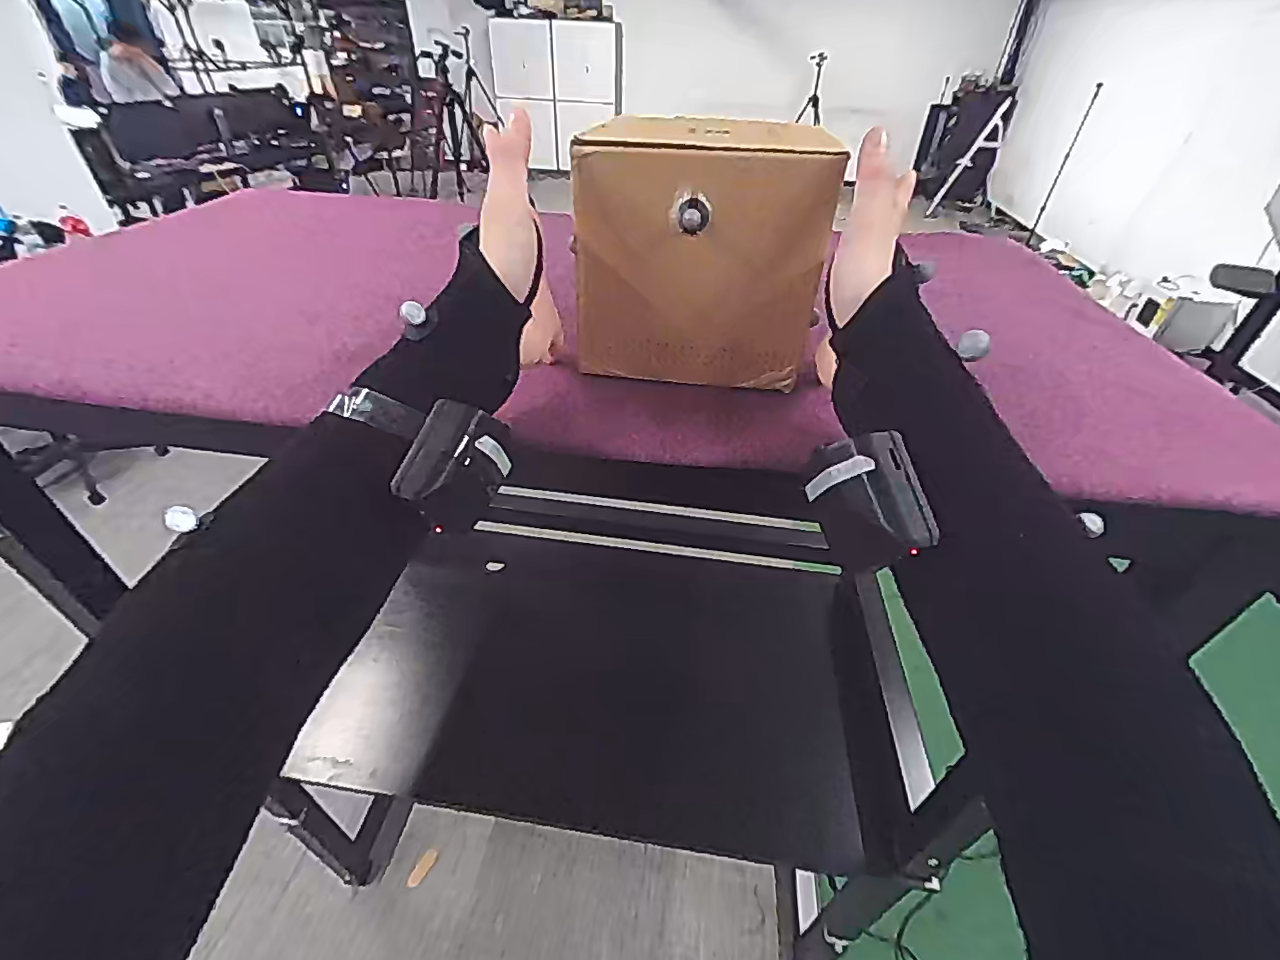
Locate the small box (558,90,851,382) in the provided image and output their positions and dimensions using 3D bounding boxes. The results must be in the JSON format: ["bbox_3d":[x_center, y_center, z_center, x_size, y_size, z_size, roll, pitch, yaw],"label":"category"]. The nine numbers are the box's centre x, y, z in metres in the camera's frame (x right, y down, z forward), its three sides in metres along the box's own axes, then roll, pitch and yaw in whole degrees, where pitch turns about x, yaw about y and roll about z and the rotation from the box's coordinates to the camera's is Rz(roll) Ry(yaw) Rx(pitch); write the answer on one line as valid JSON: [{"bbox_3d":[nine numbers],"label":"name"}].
[{"bbox_3d":[0.044,-0.192,0.422,0.179,0.176,0.168,11,39,6],"label":"small box"}]
